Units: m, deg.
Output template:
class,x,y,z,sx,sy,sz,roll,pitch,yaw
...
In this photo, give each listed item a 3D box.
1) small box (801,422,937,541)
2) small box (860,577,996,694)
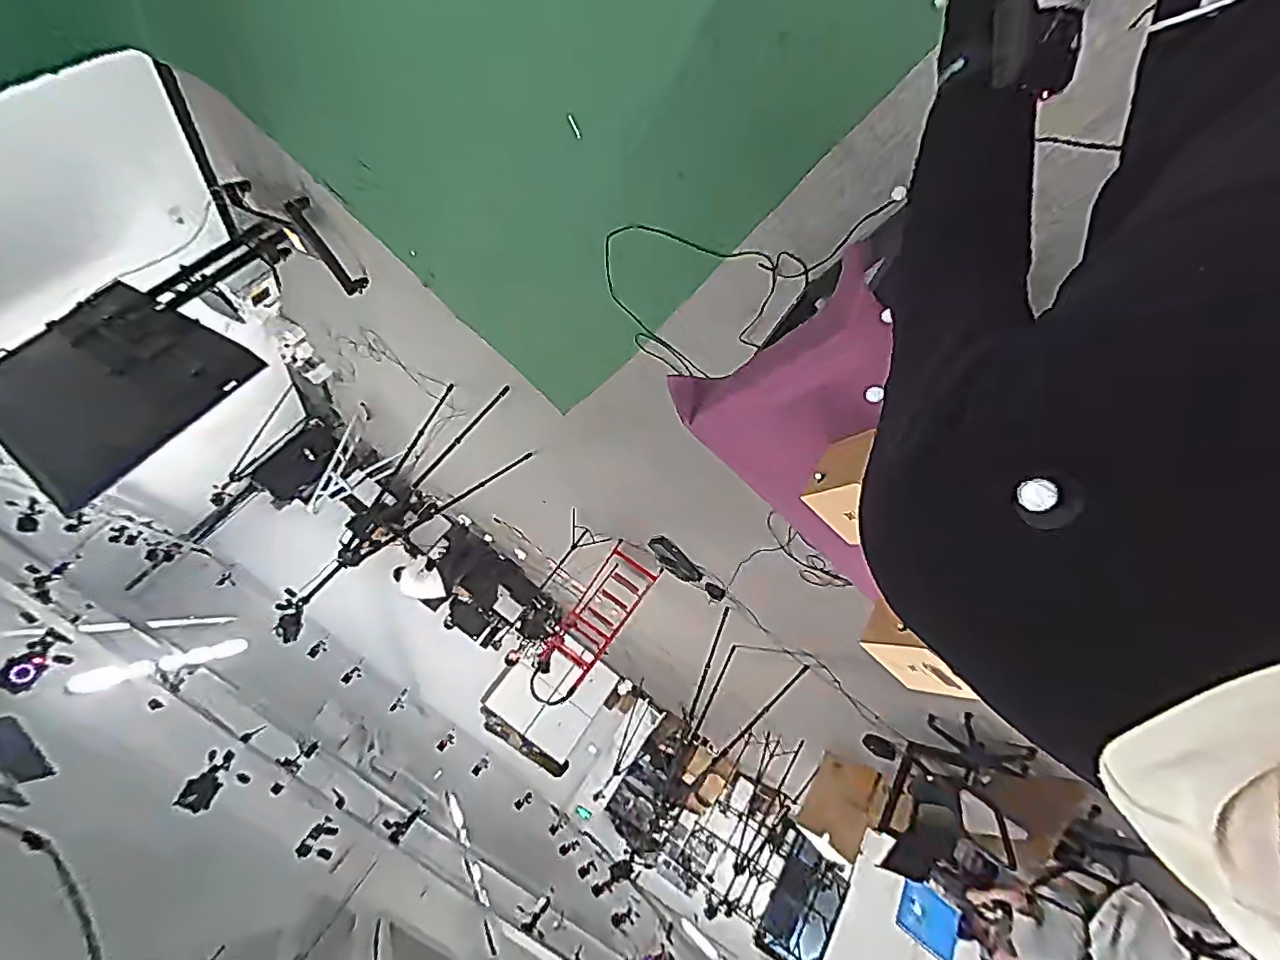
class,x,y,z,sx,sy,sz,roll,pitch,yaw
small box,0.483,0.006,1.143,0.168,0.176,0.179,42,155,-10
small box,0.604,0.315,1.126,0.168,0.176,0.179,42,156,-10
